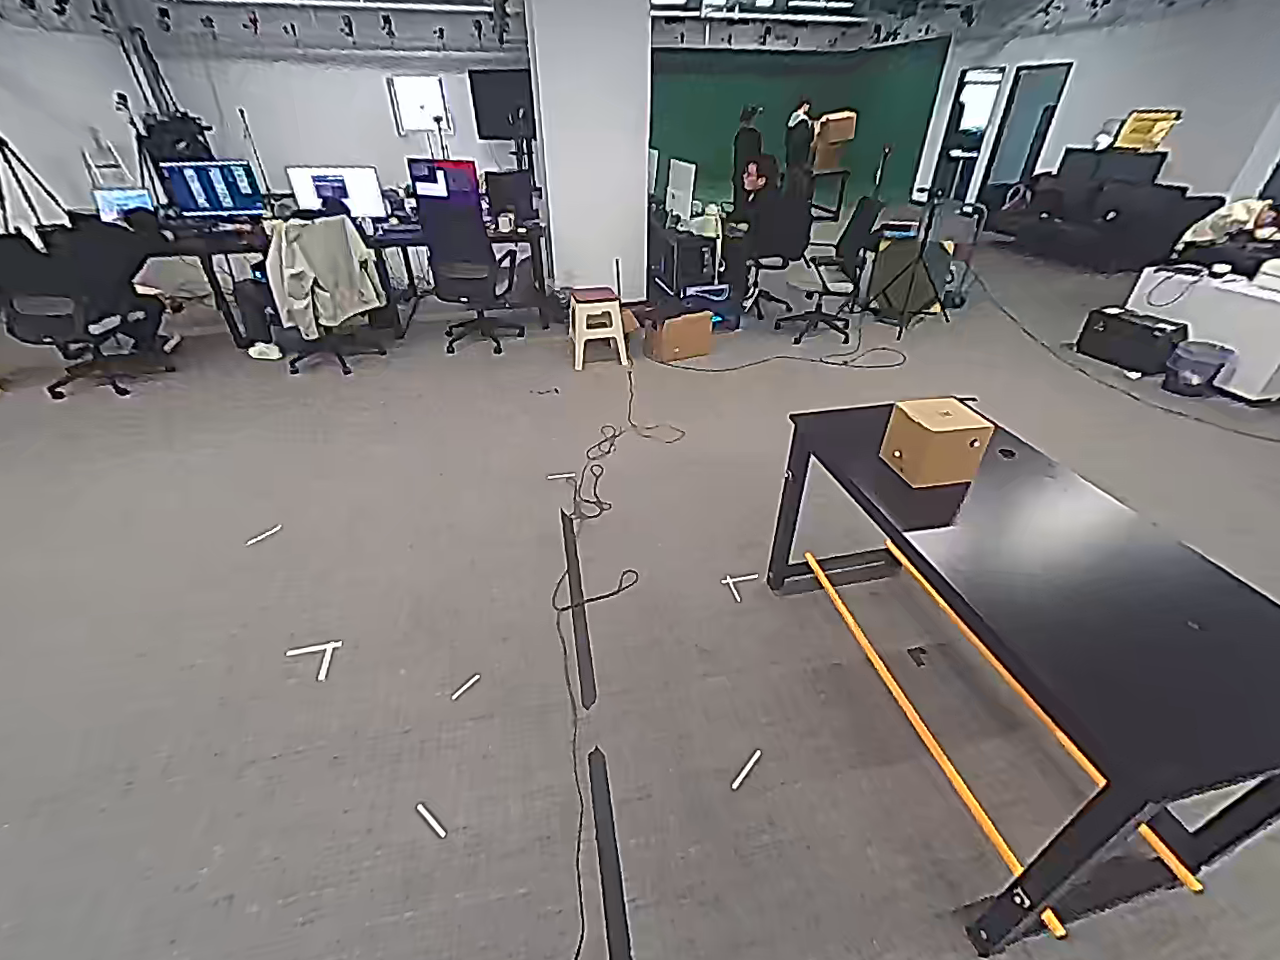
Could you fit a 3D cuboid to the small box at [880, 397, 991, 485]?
[{"bbox_3d":[0.770,-0.103,1.430,0.179,0.176,0.168,-6,35,-8],"label":"small box"}]
